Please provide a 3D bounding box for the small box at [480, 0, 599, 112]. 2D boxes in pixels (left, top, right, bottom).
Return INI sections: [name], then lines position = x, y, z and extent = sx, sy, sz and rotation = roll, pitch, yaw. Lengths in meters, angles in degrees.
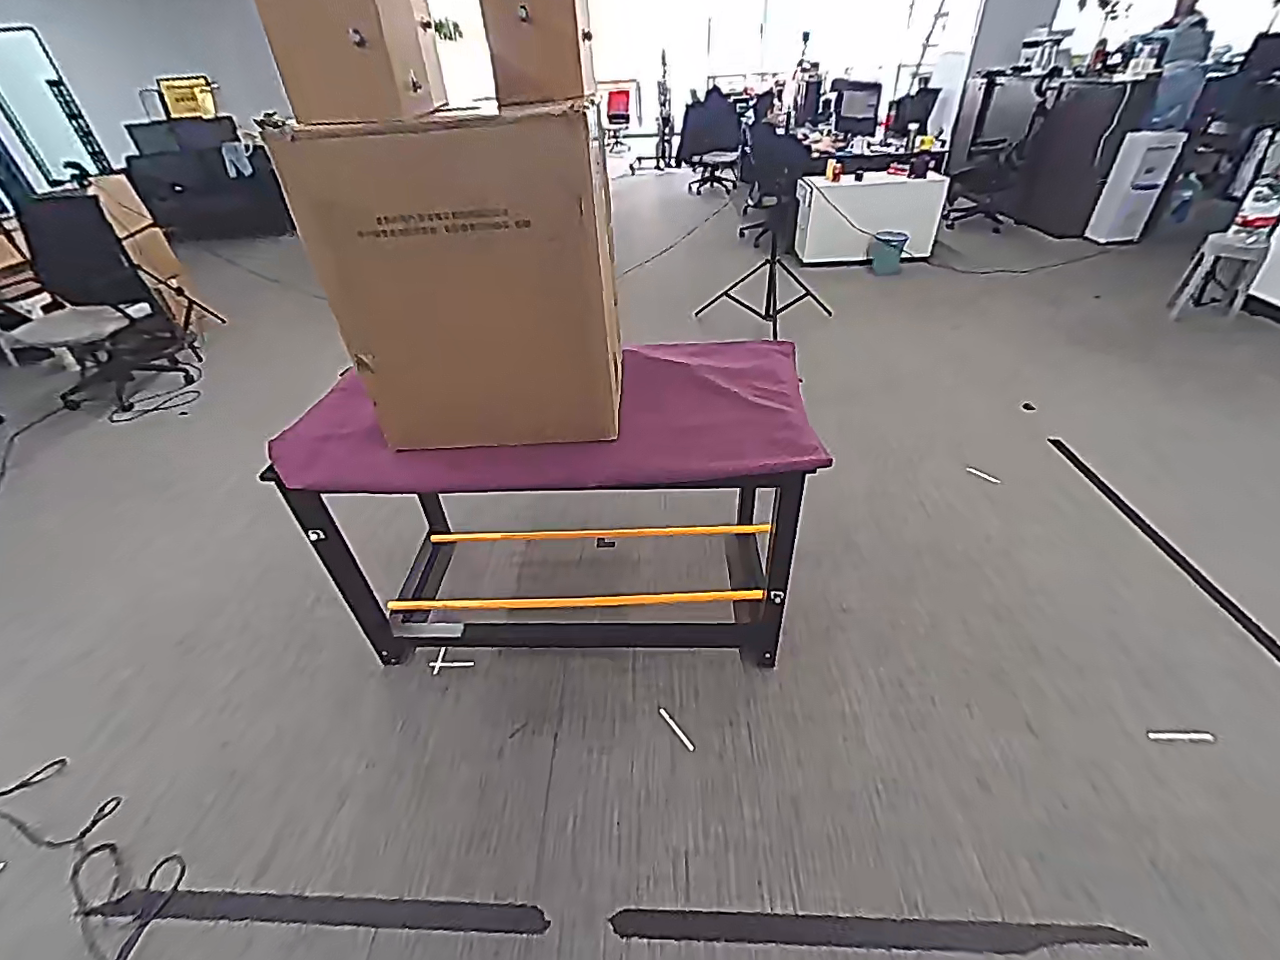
[small box]
position = -0.180, -0.820, 1.035
extent = 0.179, 0.176, 0.168
rotation = 0, 38, 7
